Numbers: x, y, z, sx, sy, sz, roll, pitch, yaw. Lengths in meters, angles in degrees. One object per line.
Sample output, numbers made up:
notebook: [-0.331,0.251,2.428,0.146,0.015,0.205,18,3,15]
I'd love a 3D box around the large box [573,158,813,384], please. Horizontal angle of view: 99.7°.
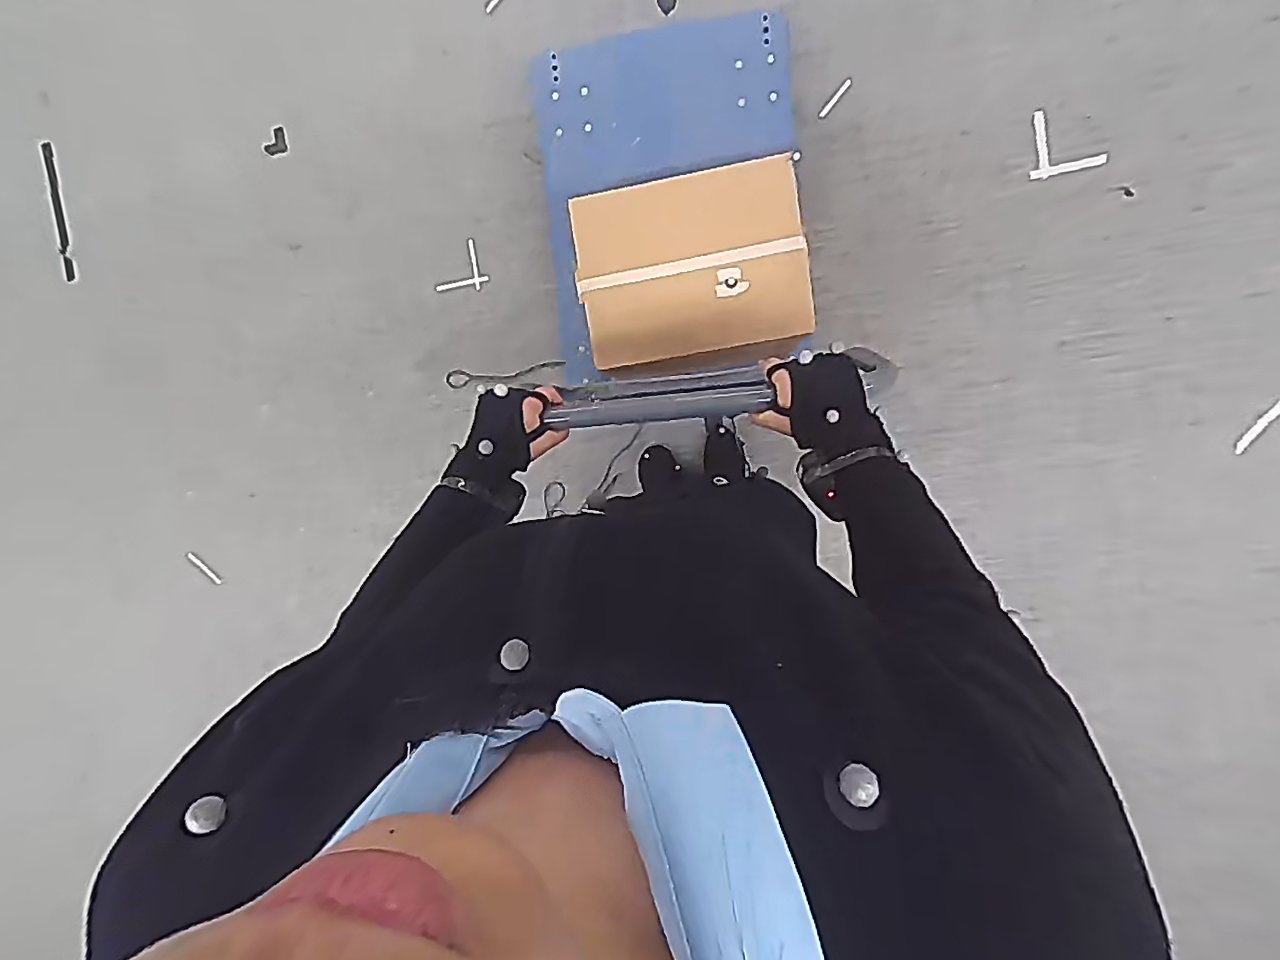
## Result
large box: [0.106,-0.401,1.132,0.408,0.320,0.320,-9,95,6]
